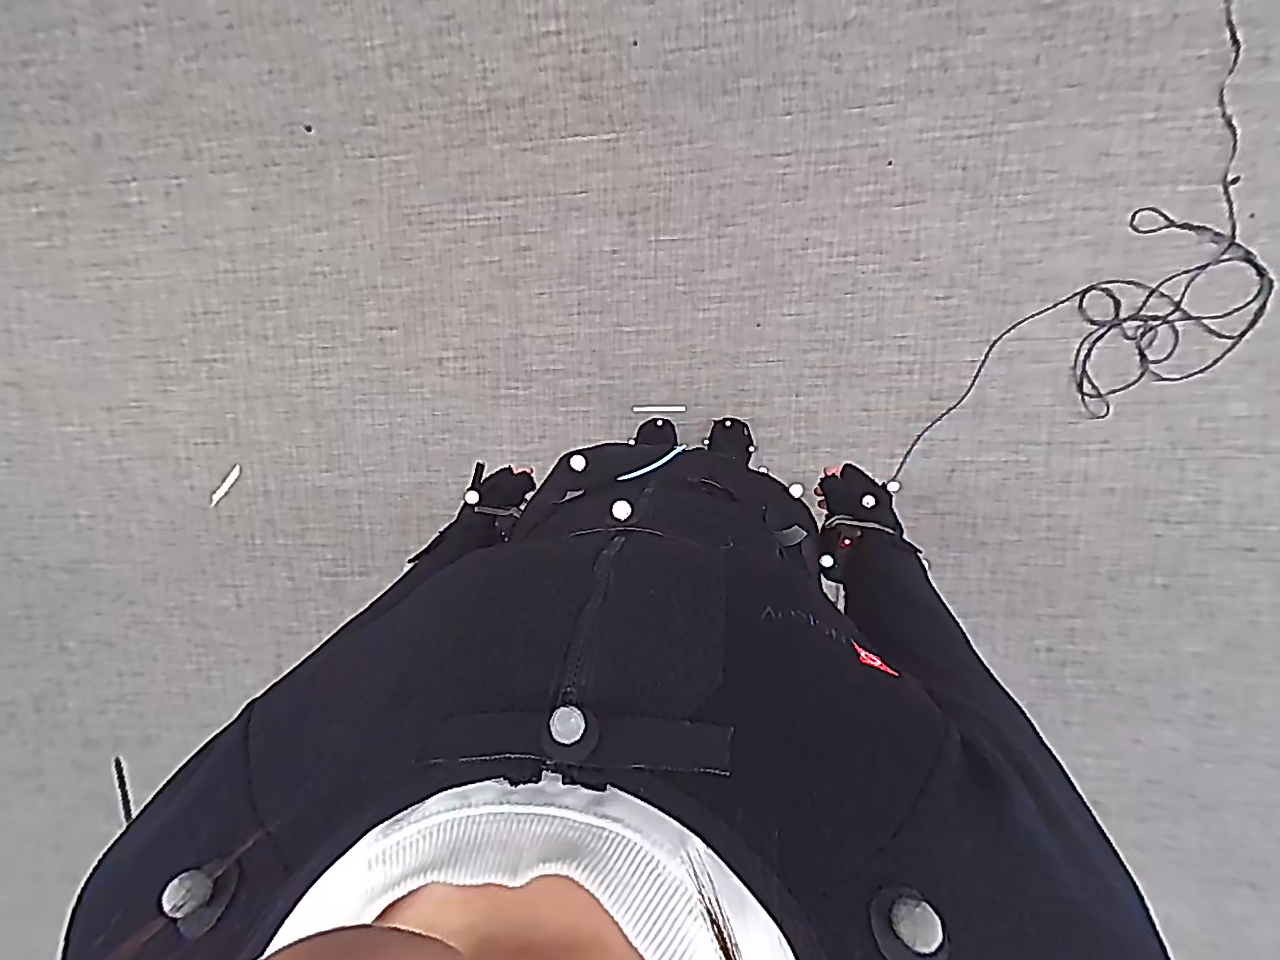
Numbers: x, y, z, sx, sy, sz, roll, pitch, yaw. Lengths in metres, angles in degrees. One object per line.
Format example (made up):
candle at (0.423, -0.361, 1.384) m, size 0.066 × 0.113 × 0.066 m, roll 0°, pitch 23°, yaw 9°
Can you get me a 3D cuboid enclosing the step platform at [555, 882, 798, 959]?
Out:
step platform at (0.102, 1.378, 1.544) m, size 0.684 × 0.204 × 0.286 m, roll -1°, pitch 98°, yaw 9°
